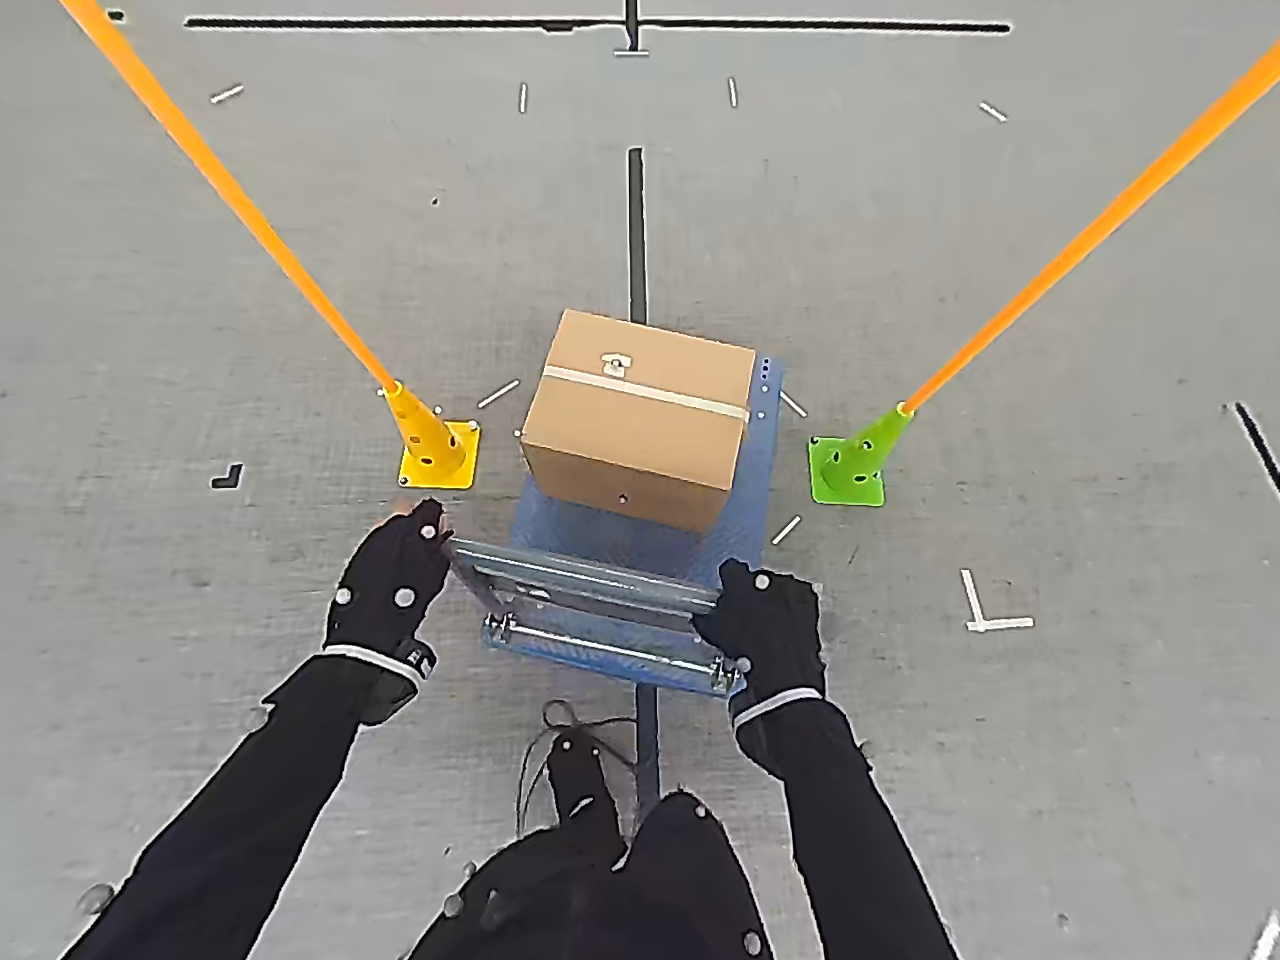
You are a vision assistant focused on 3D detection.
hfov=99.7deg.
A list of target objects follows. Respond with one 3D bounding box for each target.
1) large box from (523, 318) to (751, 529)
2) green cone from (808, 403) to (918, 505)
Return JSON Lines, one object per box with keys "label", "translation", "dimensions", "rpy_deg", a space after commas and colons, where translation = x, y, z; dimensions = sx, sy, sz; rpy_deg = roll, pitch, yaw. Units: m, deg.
{"label": "large box", "translation": [0.003, -0.108, 1.205], "dimensions": [0.408, 0.320, 0.320], "rpy_deg": [13, 69, 4]}
{"label": "green cone", "translation": [0.588, -0.088, 1.370], "dimensions": [0.202, 0.368, 0.200], "rpy_deg": [3, 69, -2]}
